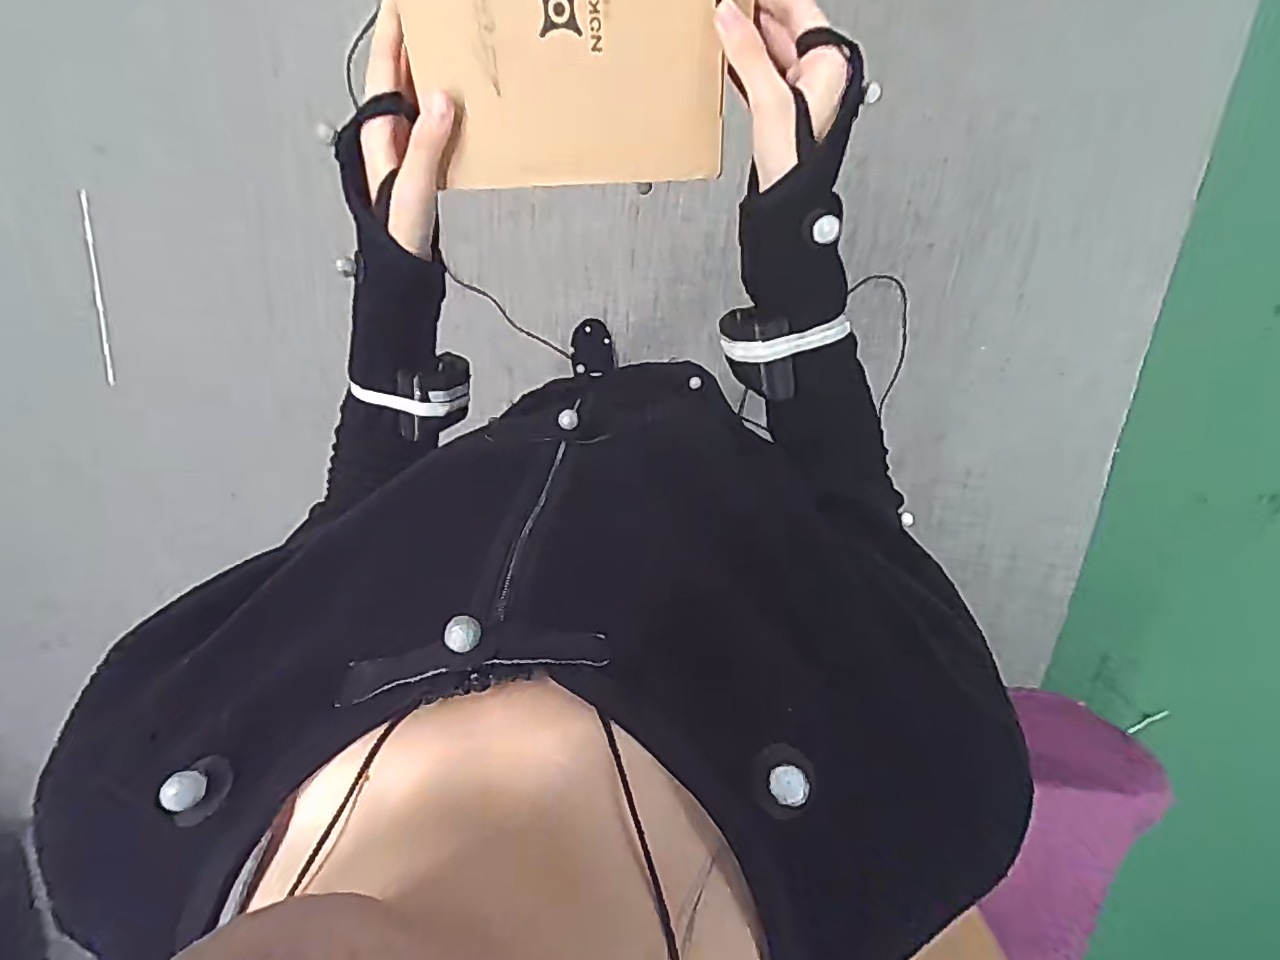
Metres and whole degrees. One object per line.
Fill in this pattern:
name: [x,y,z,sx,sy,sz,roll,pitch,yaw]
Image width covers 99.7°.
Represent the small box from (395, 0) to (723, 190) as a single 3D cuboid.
small box: [-0.046,-0.295,0.354,0.179,0.176,0.168,-2,125,-2]
